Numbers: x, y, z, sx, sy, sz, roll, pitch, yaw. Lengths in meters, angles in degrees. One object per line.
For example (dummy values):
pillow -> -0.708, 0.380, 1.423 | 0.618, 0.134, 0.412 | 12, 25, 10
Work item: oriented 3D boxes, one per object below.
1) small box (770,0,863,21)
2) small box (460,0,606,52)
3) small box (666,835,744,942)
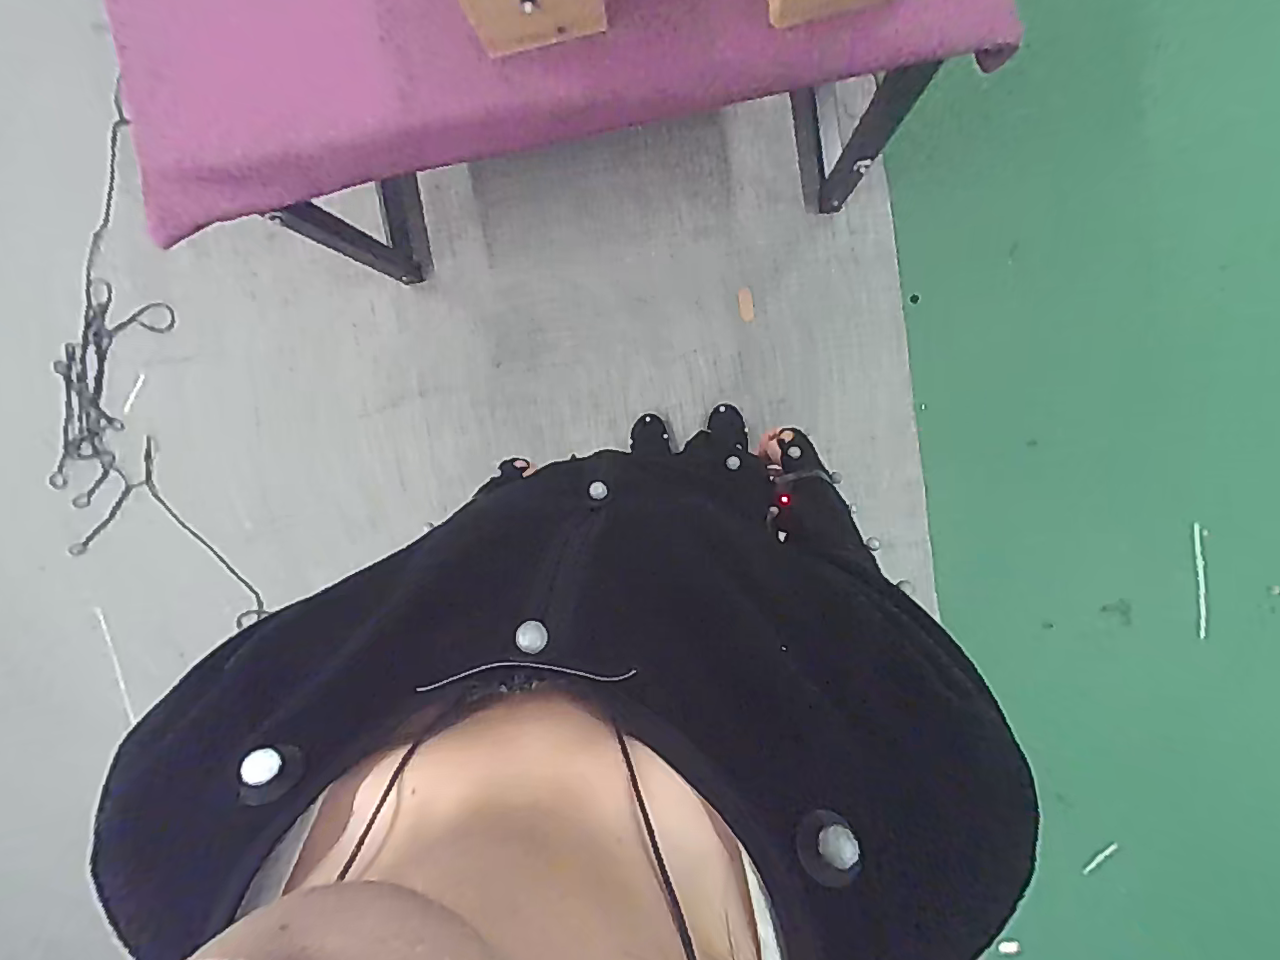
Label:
small box -> 0.235, -0.672, 0.601 | 0.179, 0.176, 0.168 | -10, 96, 9
small box -> -0.143, -0.657, 0.643 | 0.168, 0.176, 0.179 | -9, 94, 7
small box -> 0.180, 1.118, 1.493 | 0.179, 0.176, 0.168 | -15, 93, 9
